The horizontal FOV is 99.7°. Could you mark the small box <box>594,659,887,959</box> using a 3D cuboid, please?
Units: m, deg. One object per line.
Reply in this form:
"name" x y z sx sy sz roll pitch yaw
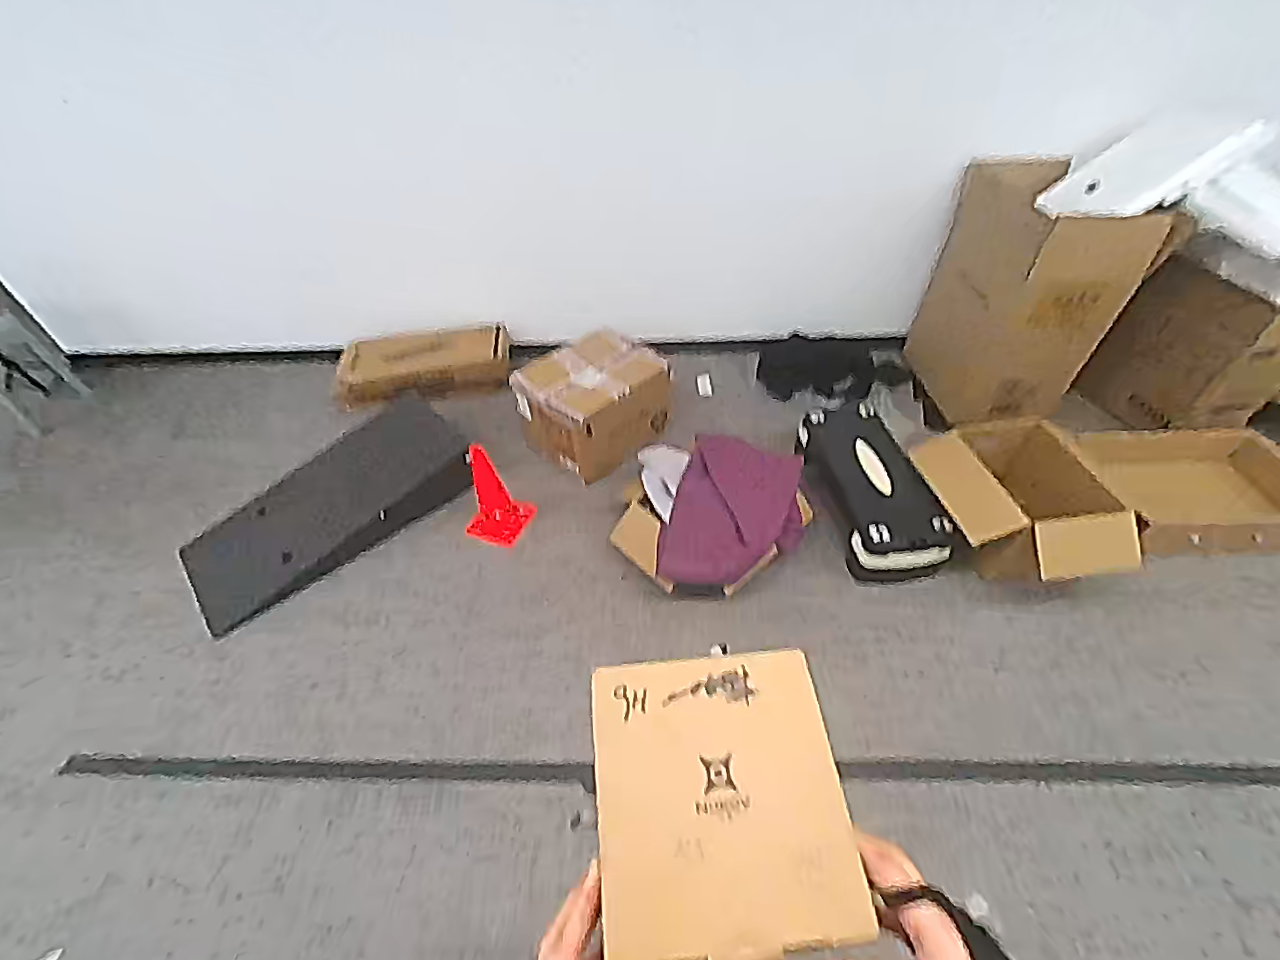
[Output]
"small box" 0.055 0.254 0.417 0.168 0.176 0.179 -4 56 -4
